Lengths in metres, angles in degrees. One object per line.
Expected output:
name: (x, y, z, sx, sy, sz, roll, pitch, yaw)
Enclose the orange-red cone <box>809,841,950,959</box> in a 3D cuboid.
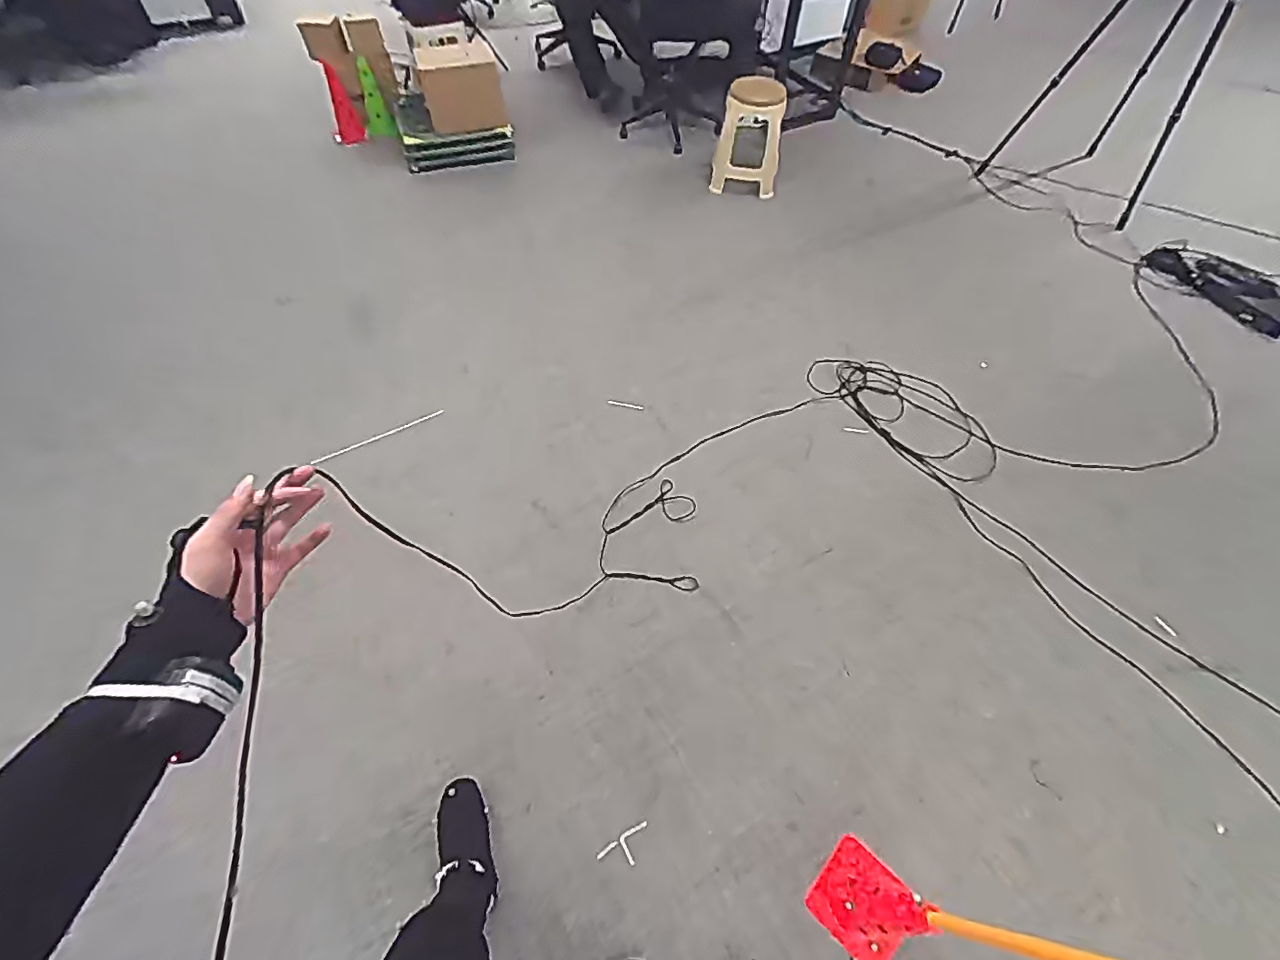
orange-red cone: (0.521, 0.883, 1.101, 0.198, 0.360, 0.199, 40, 62, 22)
